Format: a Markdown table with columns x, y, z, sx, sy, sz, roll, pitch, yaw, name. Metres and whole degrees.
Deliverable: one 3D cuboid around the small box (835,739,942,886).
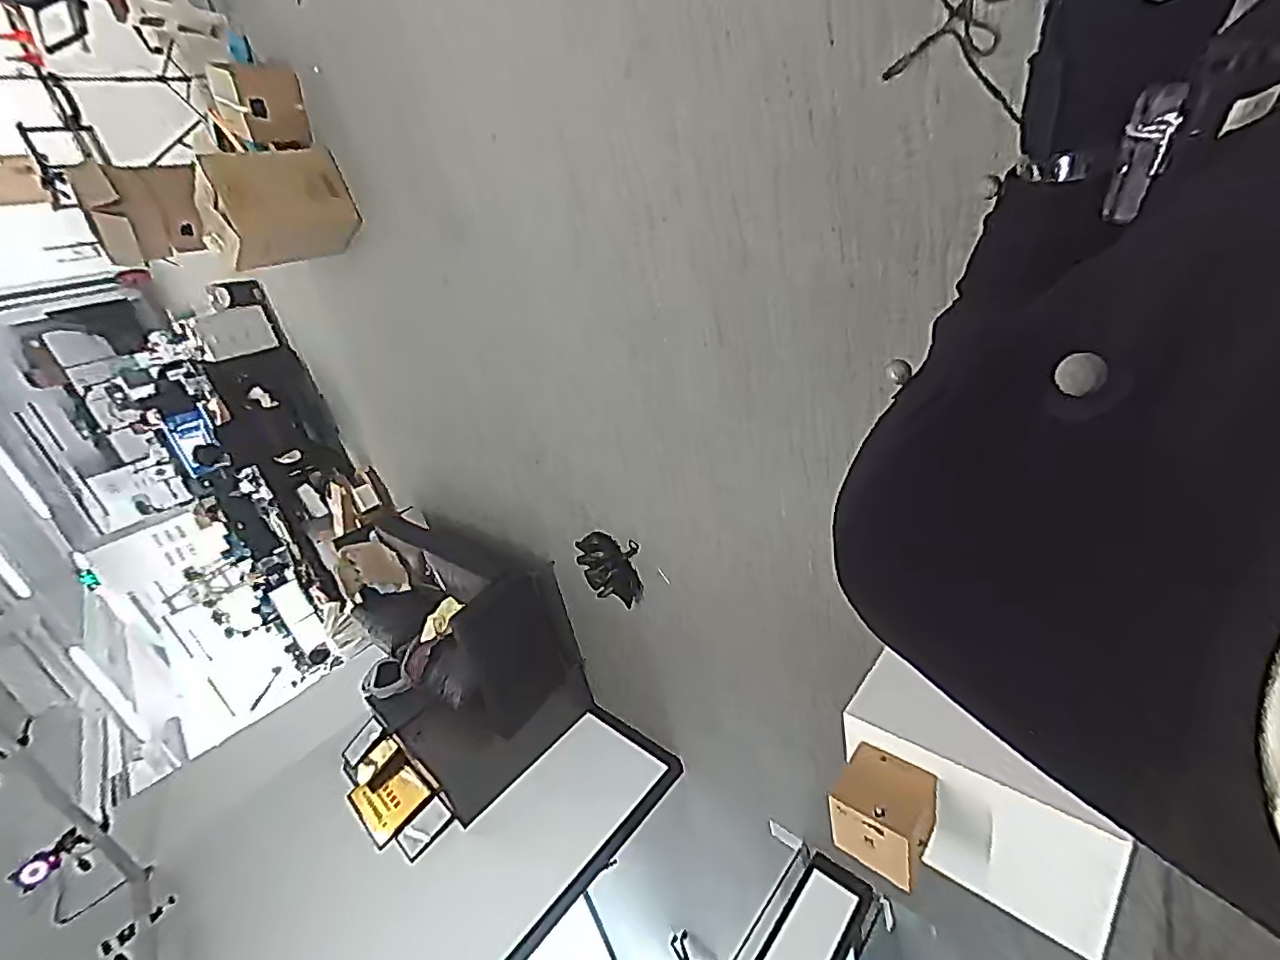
| x | y | z | sx | sy | sz | roll | pitch | yaw | name |
| --- | --- | --- | --- | --- | --- | --- | --- | --- | --- |
| 0.548 | 0.718 | 1.183 | 0.168 | 0.176 | 0.179 | 11 | 125 | 44 | small box |
